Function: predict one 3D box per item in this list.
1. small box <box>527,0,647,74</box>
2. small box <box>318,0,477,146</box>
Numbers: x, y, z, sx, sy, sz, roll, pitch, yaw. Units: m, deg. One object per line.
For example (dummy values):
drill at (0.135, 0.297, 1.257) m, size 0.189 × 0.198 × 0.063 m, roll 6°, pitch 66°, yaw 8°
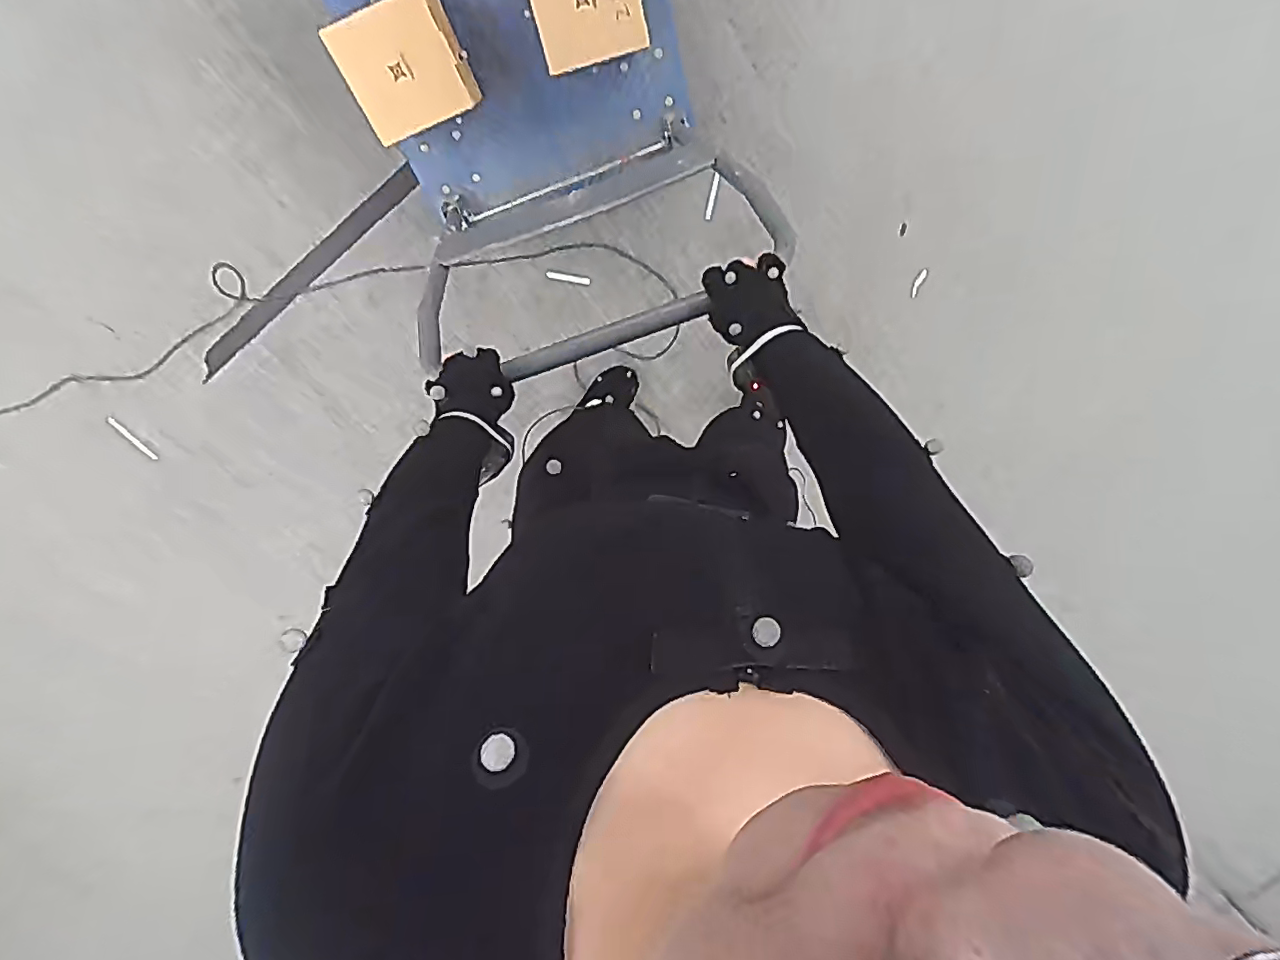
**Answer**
small box at (-0.099, -0.801, 0.905) m, size 0.179 × 0.176 × 0.168 m, roll -16°, pitch 130°, yaw 1°
small box at (-0.399, -0.701, 0.926) m, size 0.179 × 0.176 × 0.168 m, roll -22°, pitch 129°, yaw 5°
